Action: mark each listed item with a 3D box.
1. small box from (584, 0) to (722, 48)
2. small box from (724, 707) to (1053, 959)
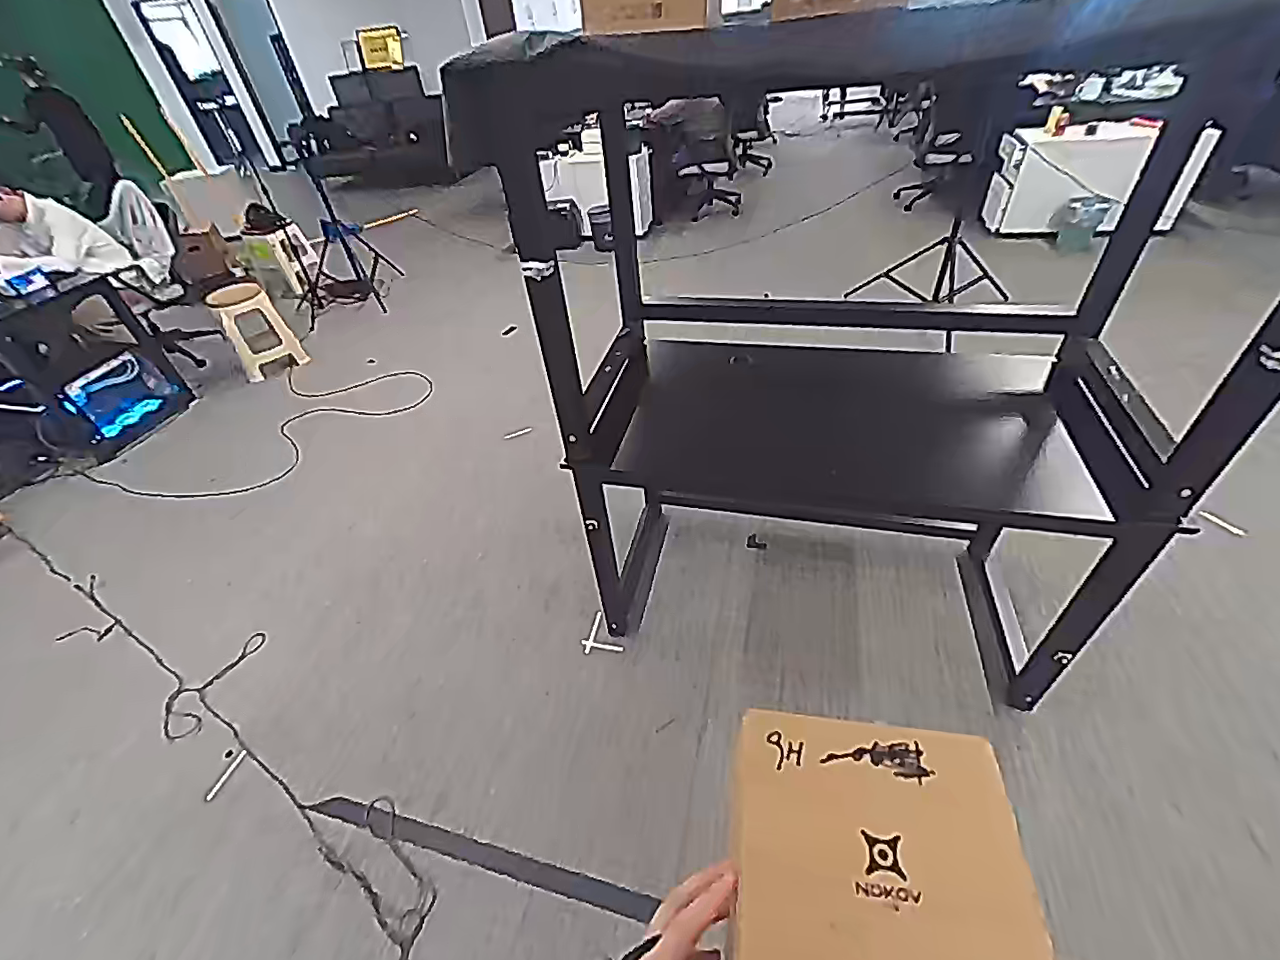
[{"bbox_3d":[0.021,-0.691,0.719,0.168,0.176,0.179,7,40,13],"label":"small box"},{"bbox_3d":[0.147,0.285,0.372,0.168,0.176,0.179,4,46,8],"label":"small box"}]
